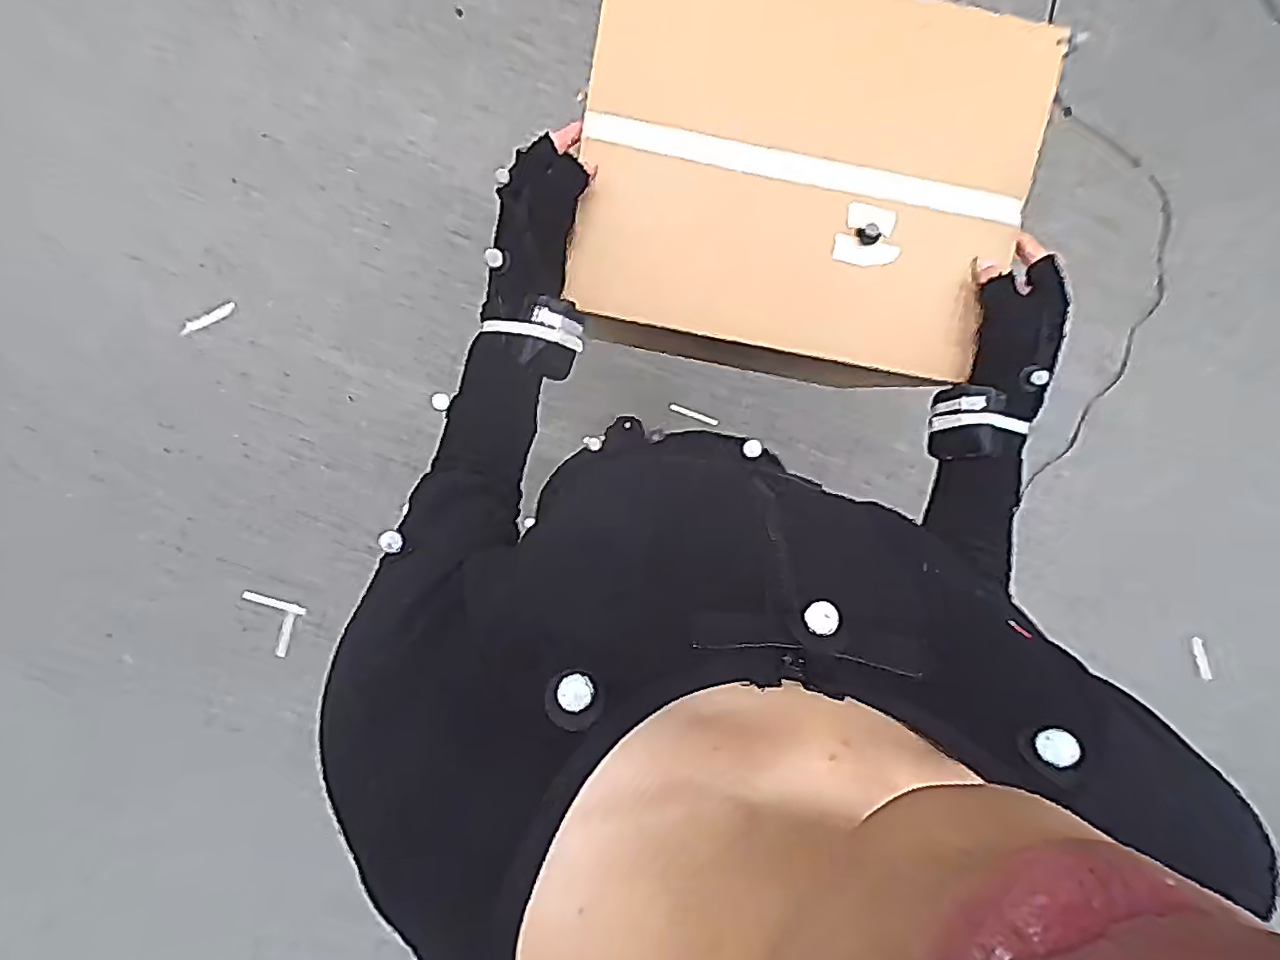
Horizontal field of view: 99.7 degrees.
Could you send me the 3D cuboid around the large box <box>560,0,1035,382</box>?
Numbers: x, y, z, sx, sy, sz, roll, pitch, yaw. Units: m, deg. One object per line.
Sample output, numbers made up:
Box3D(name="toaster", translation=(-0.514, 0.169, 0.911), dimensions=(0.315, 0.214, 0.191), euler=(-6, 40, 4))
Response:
Box3D(name="large box", translation=(0.136, -0.306, 0.648), dimensions=(0.408, 0.320, 0.320), euler=(10, 99, -3))
